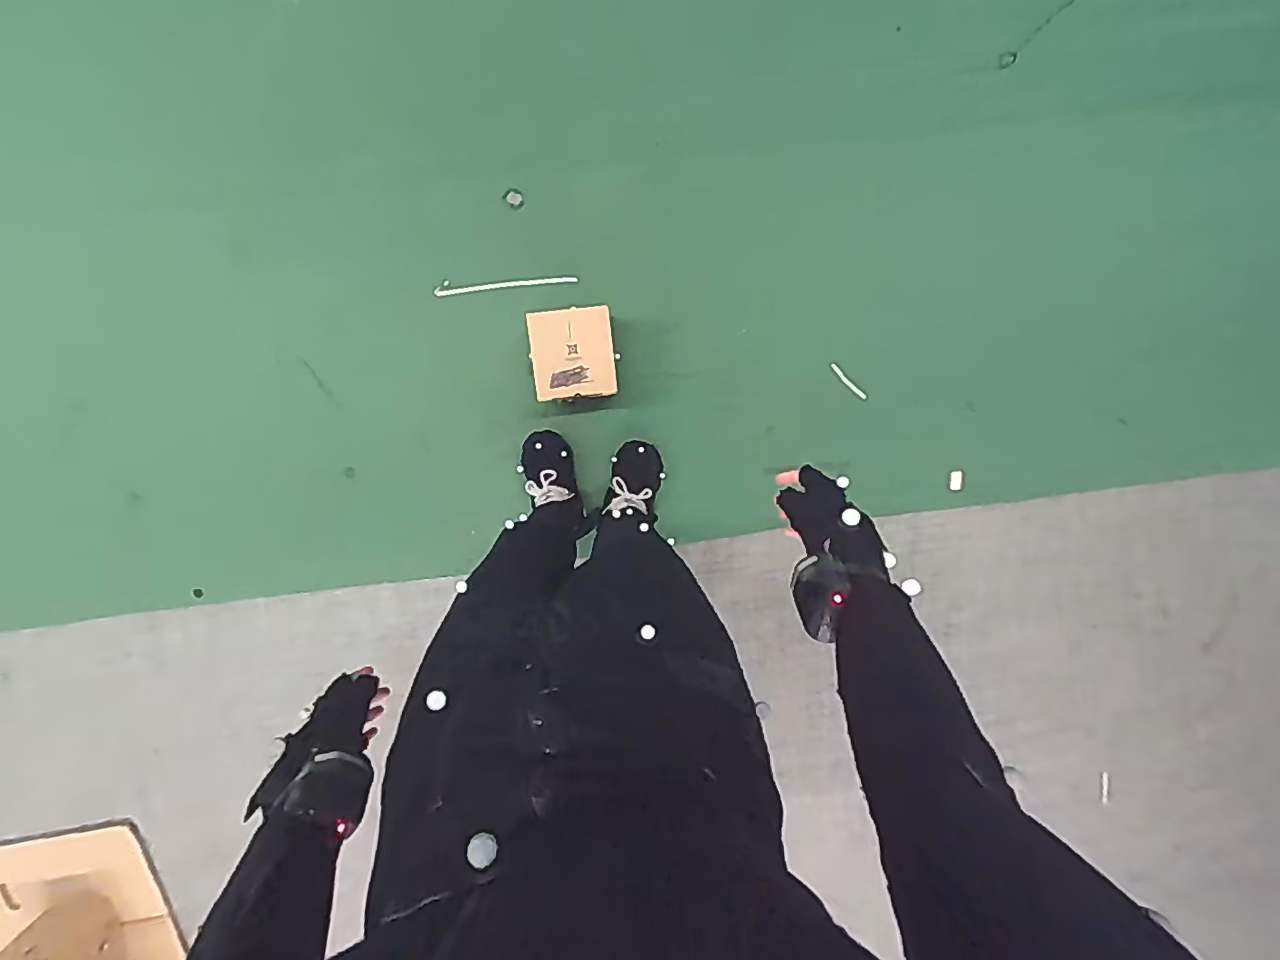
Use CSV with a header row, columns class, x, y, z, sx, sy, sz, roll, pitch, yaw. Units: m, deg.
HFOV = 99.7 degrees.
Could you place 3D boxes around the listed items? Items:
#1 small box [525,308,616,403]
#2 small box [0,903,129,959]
class,x,y,z,sx,sy,sz,roll,pitch,yaw
small box,-0.141,-0.263,1.161,0.168,0.176,0.179,-6,100,-2
small box,-1.466,1.222,1.363,0.179,0.176,0.168,-12,100,-2
